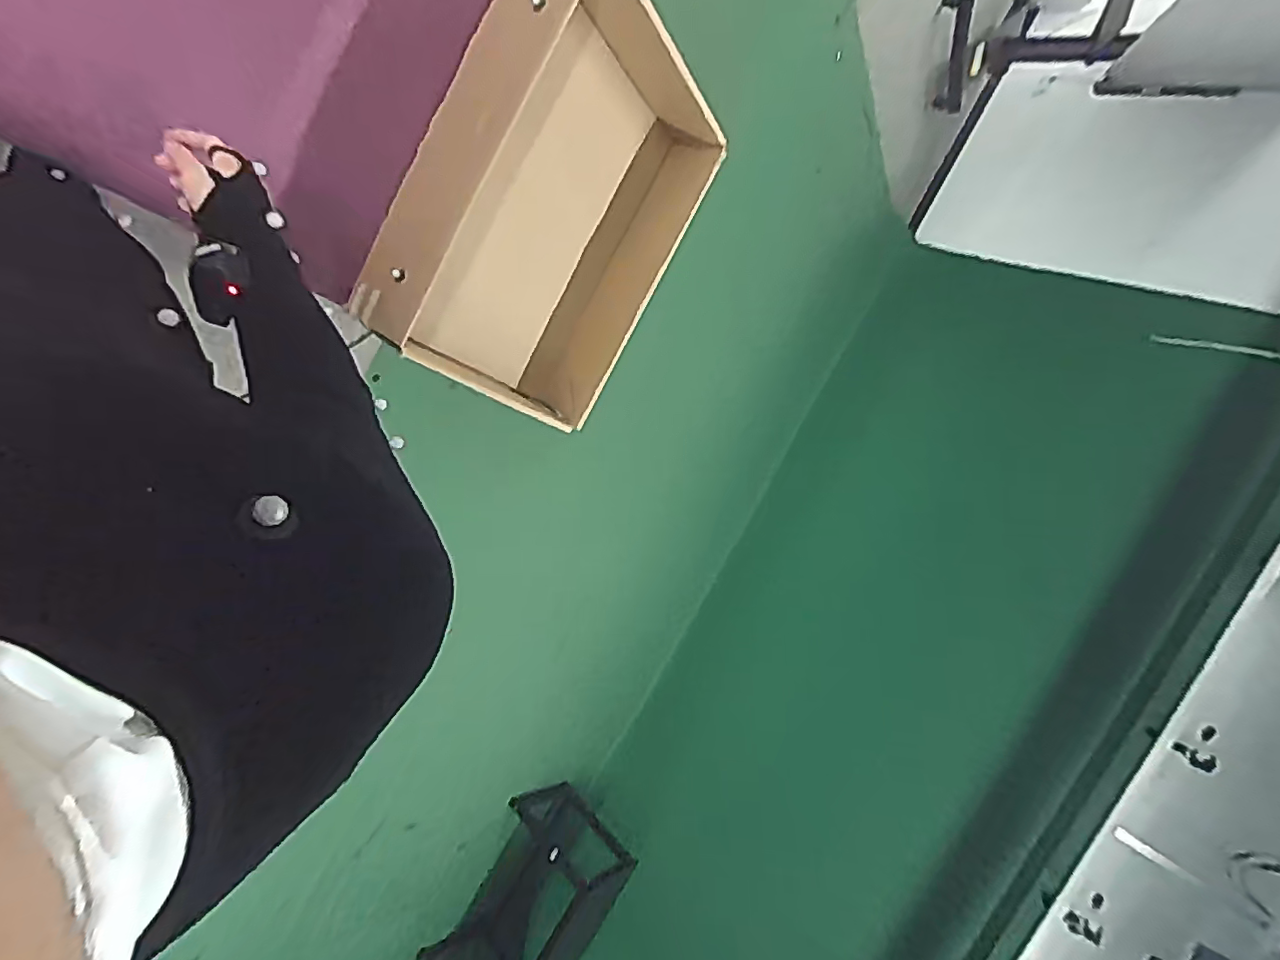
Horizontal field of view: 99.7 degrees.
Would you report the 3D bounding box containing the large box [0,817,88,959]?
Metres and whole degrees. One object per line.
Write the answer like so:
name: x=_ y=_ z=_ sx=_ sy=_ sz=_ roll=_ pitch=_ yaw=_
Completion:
large box: x=-1.709 y=1.158 z=1.327 sx=0.408 sy=0.320 sz=0.320 roll=-24 pitch=134 yaw=-43
